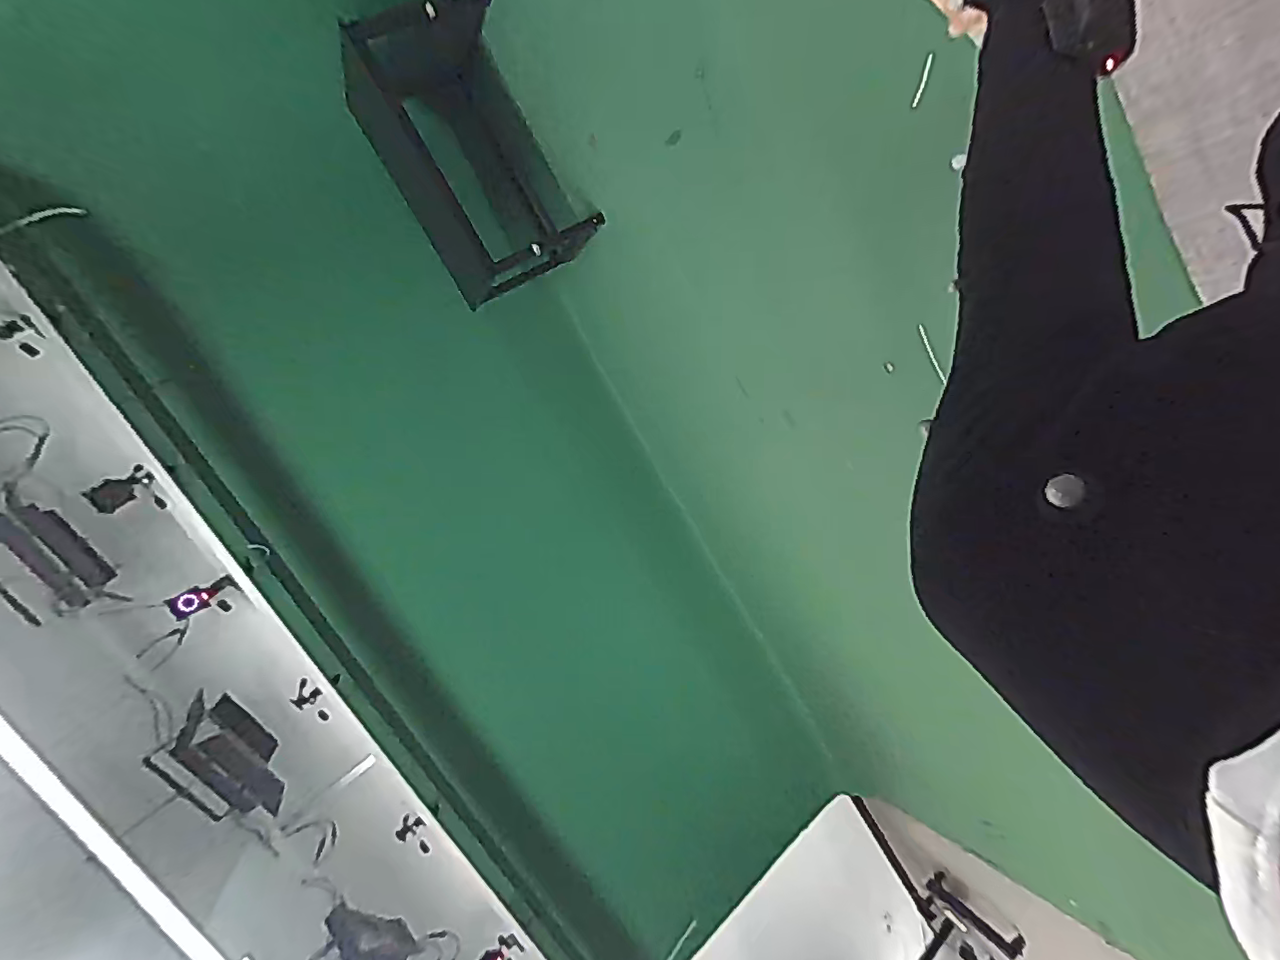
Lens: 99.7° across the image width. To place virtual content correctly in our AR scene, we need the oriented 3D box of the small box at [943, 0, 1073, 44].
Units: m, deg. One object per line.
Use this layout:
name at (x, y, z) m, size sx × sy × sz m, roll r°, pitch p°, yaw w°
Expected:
small box at (0.379, -0.564, 0.496) m, size 0.179 × 0.176 × 0.168 m, roll 54°, pitch 167°, yaw 12°
